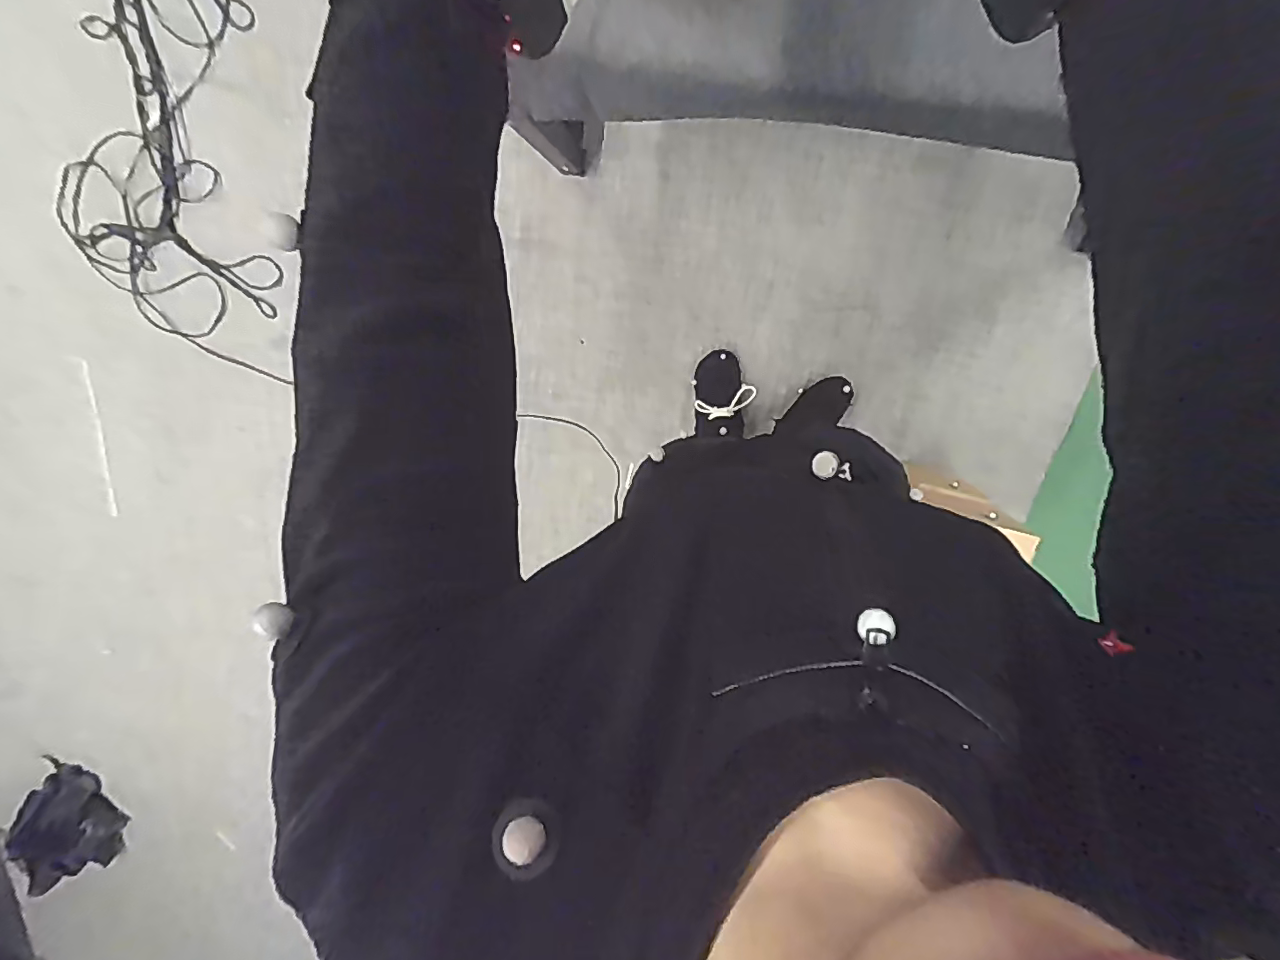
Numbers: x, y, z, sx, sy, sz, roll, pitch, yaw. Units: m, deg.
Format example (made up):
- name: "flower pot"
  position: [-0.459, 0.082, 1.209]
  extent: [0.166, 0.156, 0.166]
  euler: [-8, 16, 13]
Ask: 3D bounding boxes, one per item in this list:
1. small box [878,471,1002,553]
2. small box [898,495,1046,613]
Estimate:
- name: "small box"
  position: [0.690, 0.089, 1.267]
  extent: [0.179, 0.176, 0.168]
  euler: [15, 108, 3]
- name: "small box"
  position: [0.669, 0.144, 1.114]
  extent: [0.179, 0.176, 0.168]
  euler: [15, 107, 3]
